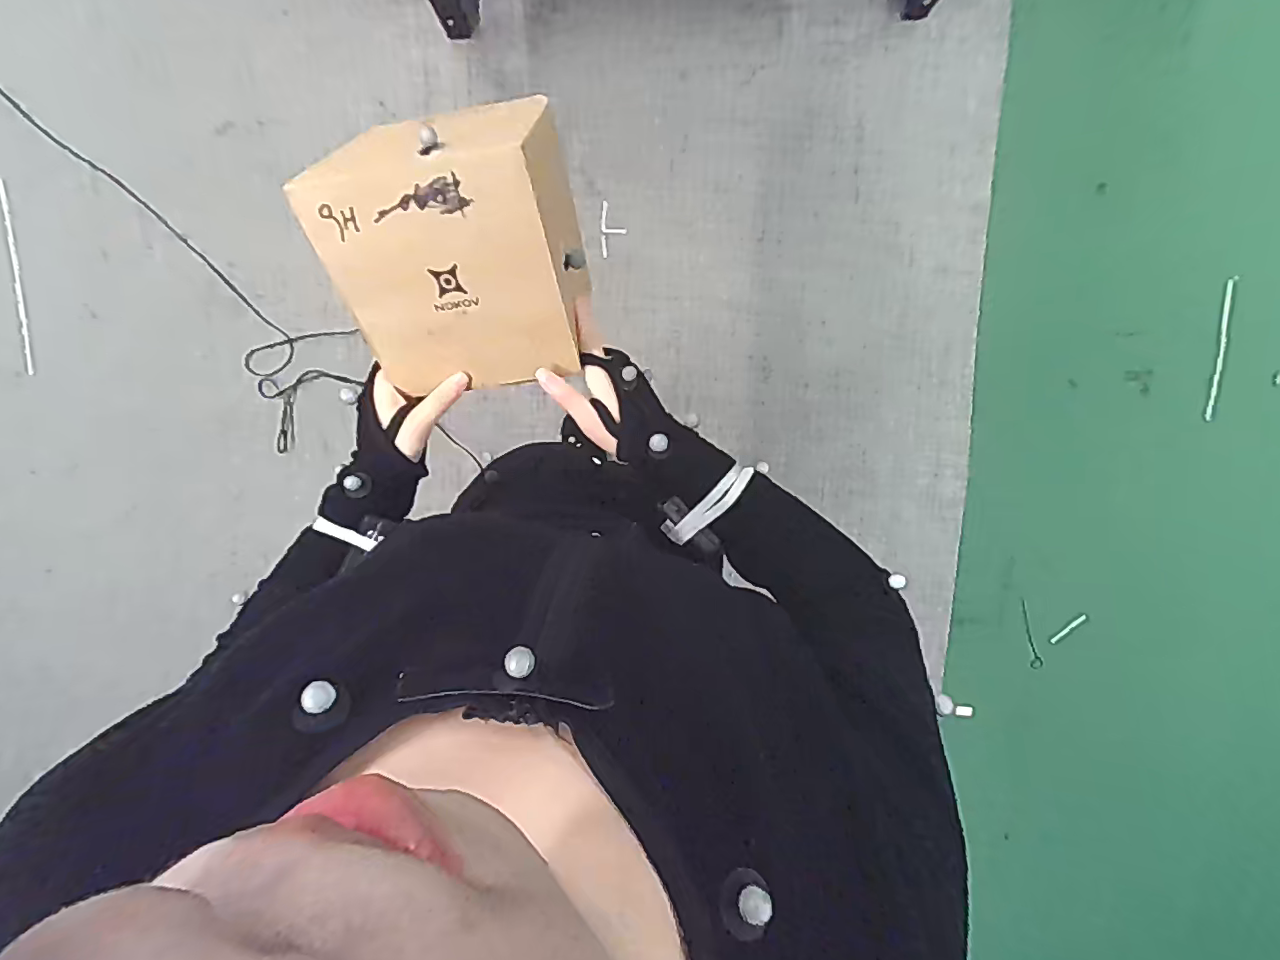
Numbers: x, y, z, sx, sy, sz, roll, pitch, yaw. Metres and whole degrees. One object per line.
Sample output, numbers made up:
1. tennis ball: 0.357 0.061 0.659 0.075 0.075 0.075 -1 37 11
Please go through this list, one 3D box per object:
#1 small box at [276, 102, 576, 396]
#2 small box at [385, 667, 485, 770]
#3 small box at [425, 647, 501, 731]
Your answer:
1. small box: -0.158 -0.201 0.476 0.168 0.176 0.179 -7 134 6
2. small box: -0.492 0.578 1.329 0.179 0.176 0.168 -7 98 2
3. small box: -0.489 0.571 1.492 0.179 0.176 0.168 -2 97 1
